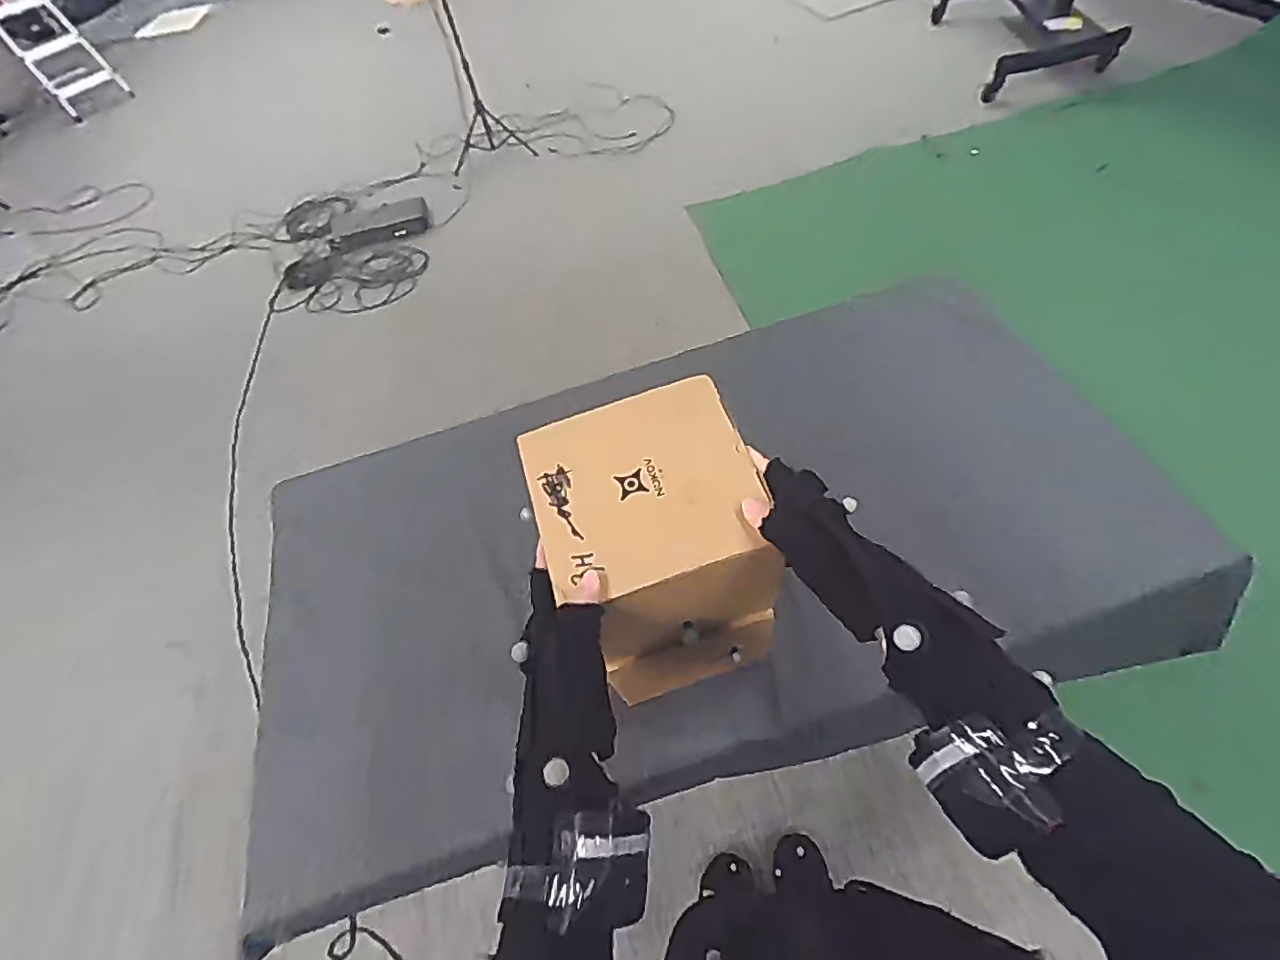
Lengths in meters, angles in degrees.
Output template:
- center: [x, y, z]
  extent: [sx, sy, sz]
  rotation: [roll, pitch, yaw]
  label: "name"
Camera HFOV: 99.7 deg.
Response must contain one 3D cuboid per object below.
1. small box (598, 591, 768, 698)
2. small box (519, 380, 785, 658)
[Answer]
- center: [0.032, 0.134, 0.632]
  extent: [0.179, 0.176, 0.168]
  rotation: [-20, 56, -2]
  label: "small box"
- center: [0.008, 0.043, 0.492]
  extent: [0.179, 0.176, 0.168]
  rotation: [-18, 59, -4]
  label: "small box"
